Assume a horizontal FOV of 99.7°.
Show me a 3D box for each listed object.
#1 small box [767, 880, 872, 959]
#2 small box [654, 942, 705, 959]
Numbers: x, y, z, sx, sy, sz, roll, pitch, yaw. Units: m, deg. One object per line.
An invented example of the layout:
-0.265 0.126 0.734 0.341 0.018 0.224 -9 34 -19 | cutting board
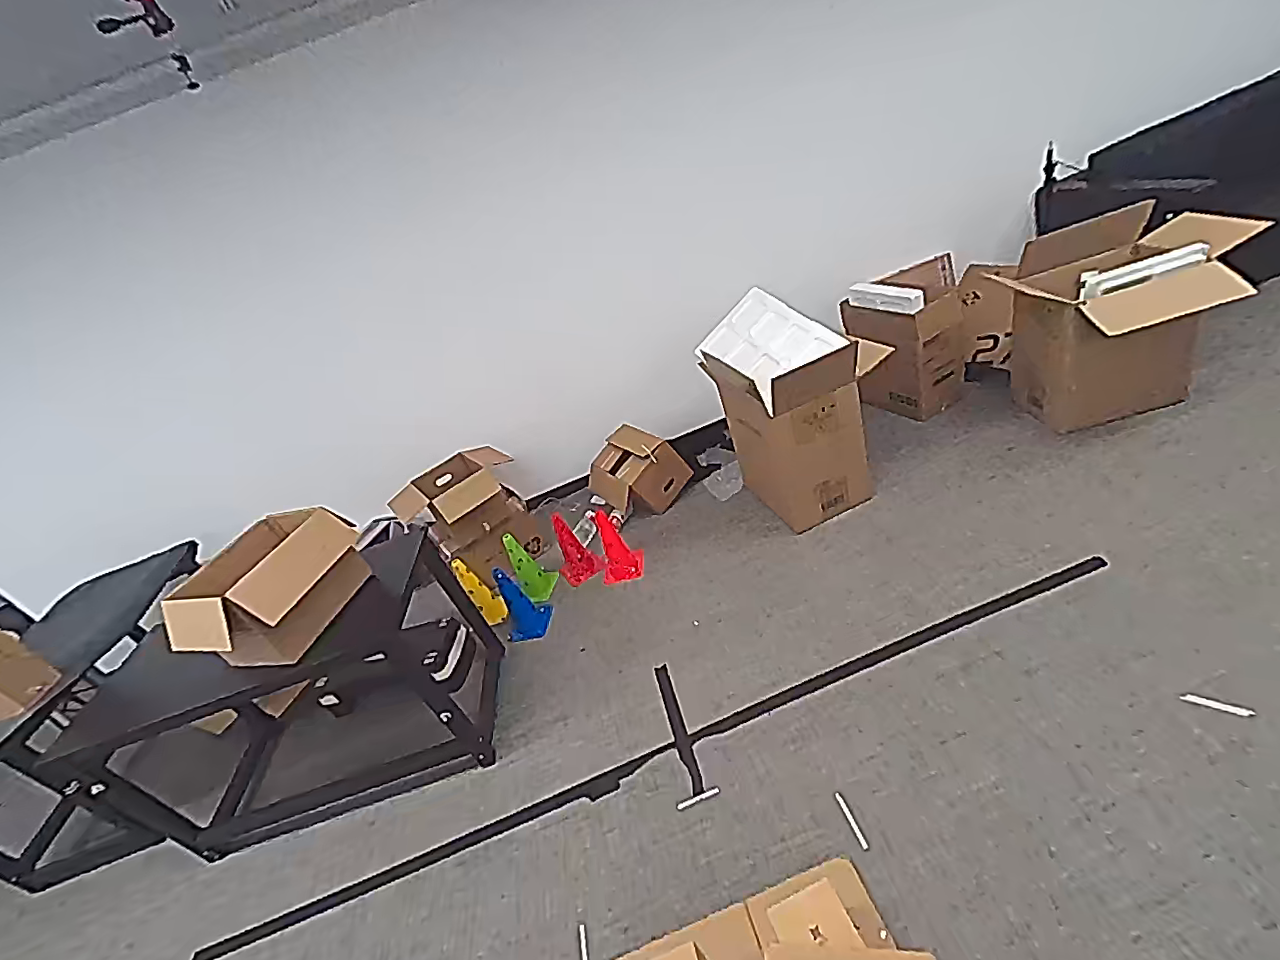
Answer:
0.412 1.065 1.219 0.168 0.176 0.179 -25 30 -6 | small box
0.094 1.193 1.203 0.168 0.176 0.179 -24 31 -3 | small box
